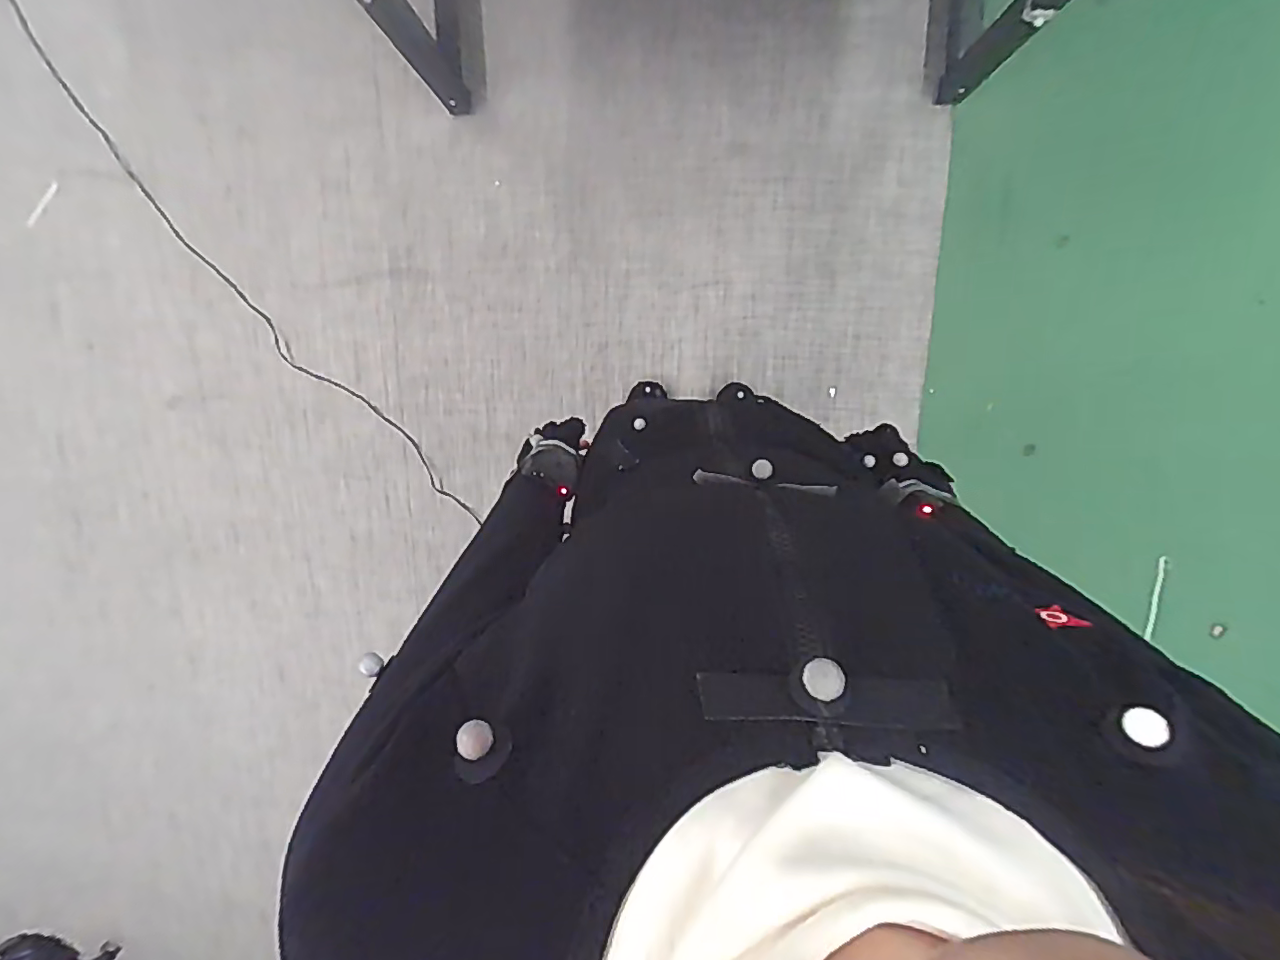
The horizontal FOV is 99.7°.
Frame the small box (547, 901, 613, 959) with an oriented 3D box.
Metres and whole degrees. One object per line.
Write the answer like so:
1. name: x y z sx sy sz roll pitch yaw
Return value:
1. small box: -0.172 1.395 1.605 0.179 0.176 0.168 -1 102 3
